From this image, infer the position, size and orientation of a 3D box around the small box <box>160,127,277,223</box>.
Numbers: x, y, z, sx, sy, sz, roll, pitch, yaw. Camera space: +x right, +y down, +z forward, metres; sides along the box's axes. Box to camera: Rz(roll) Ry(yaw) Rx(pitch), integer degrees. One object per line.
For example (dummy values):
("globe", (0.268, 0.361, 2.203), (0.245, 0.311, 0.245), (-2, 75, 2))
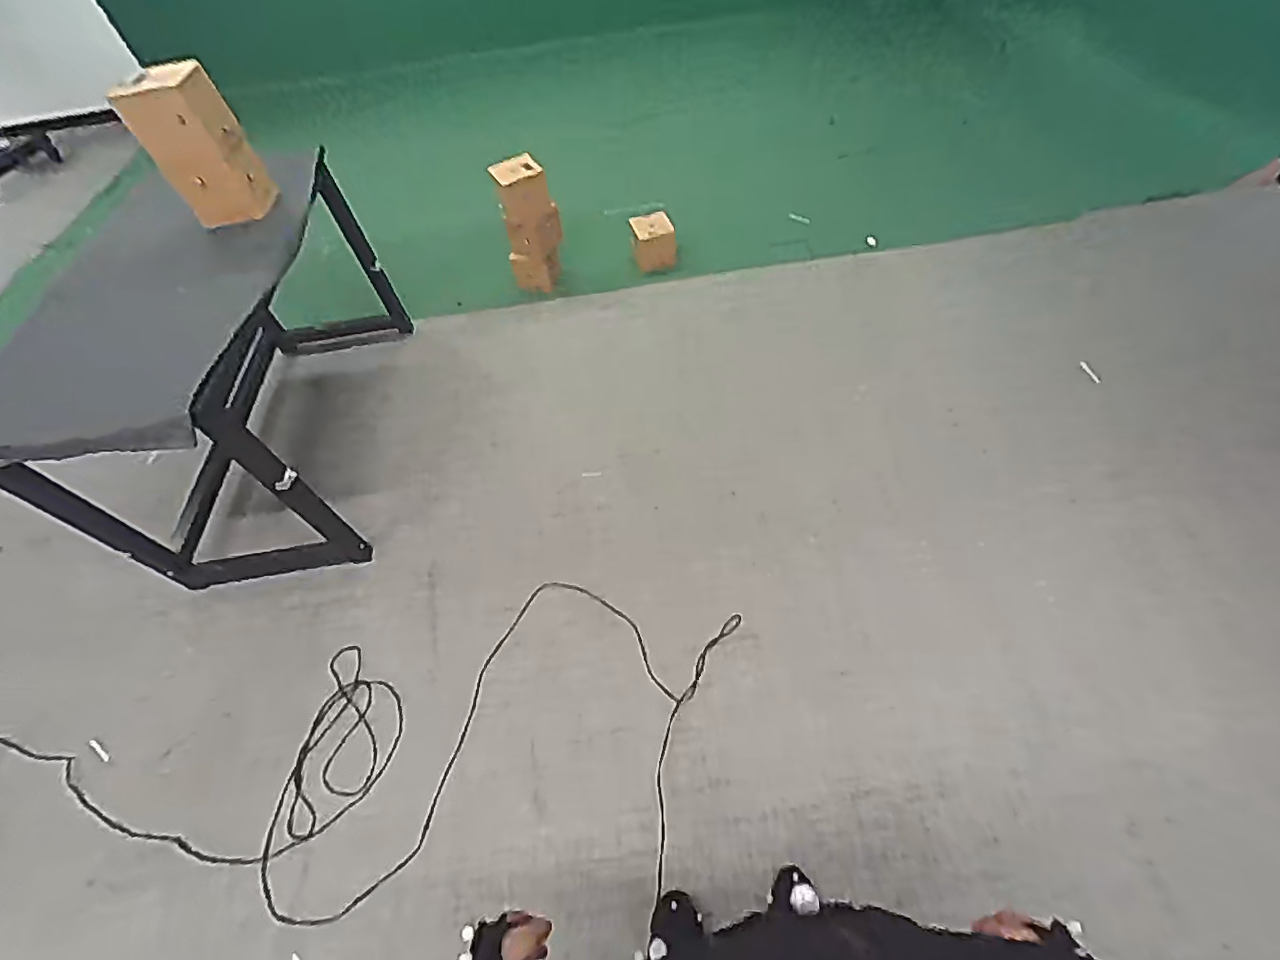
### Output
("small box", (-1.169, -0.853, 1.519), (0.179, 0.176, 0.168), (-10, 55, 1))

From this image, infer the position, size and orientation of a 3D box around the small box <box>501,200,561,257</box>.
("small box", (-0.452, -1.074, 2.288), (0.168, 0.176, 0.179), (24, 61, 19))

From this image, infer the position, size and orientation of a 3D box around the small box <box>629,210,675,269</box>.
("small box", (0.056, -1.084, 2.439), (0.168, 0.176, 0.179), (-16, 55, -6))

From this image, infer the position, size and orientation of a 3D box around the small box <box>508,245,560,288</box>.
("small box", (-0.470, -0.982, 2.424), (0.168, 0.176, 0.179), (5, 56, 9))

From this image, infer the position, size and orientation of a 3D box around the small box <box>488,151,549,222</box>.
("small box", (-0.474, -1.166, 2.153), (0.179, 0.176, 0.168), (-28, 59, -12))
